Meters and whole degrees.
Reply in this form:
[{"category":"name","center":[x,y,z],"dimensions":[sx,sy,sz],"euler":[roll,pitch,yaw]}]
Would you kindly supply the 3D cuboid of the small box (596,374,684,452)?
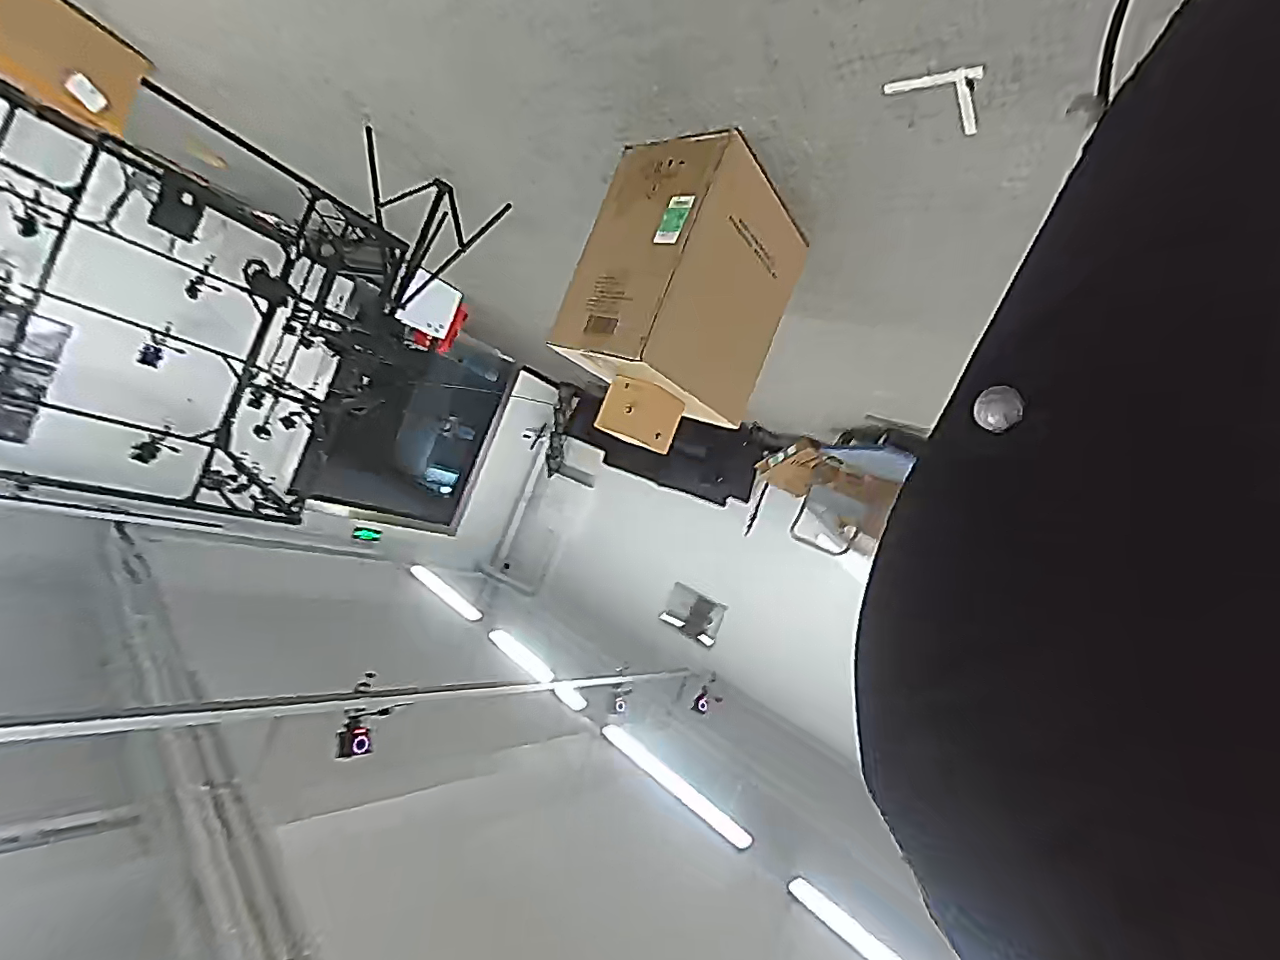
[{"category":"small box","center":[0.005,-0.202,1.614],"dimensions":[0.168,0.176,0.179],"euler":[21,180,36]}]
